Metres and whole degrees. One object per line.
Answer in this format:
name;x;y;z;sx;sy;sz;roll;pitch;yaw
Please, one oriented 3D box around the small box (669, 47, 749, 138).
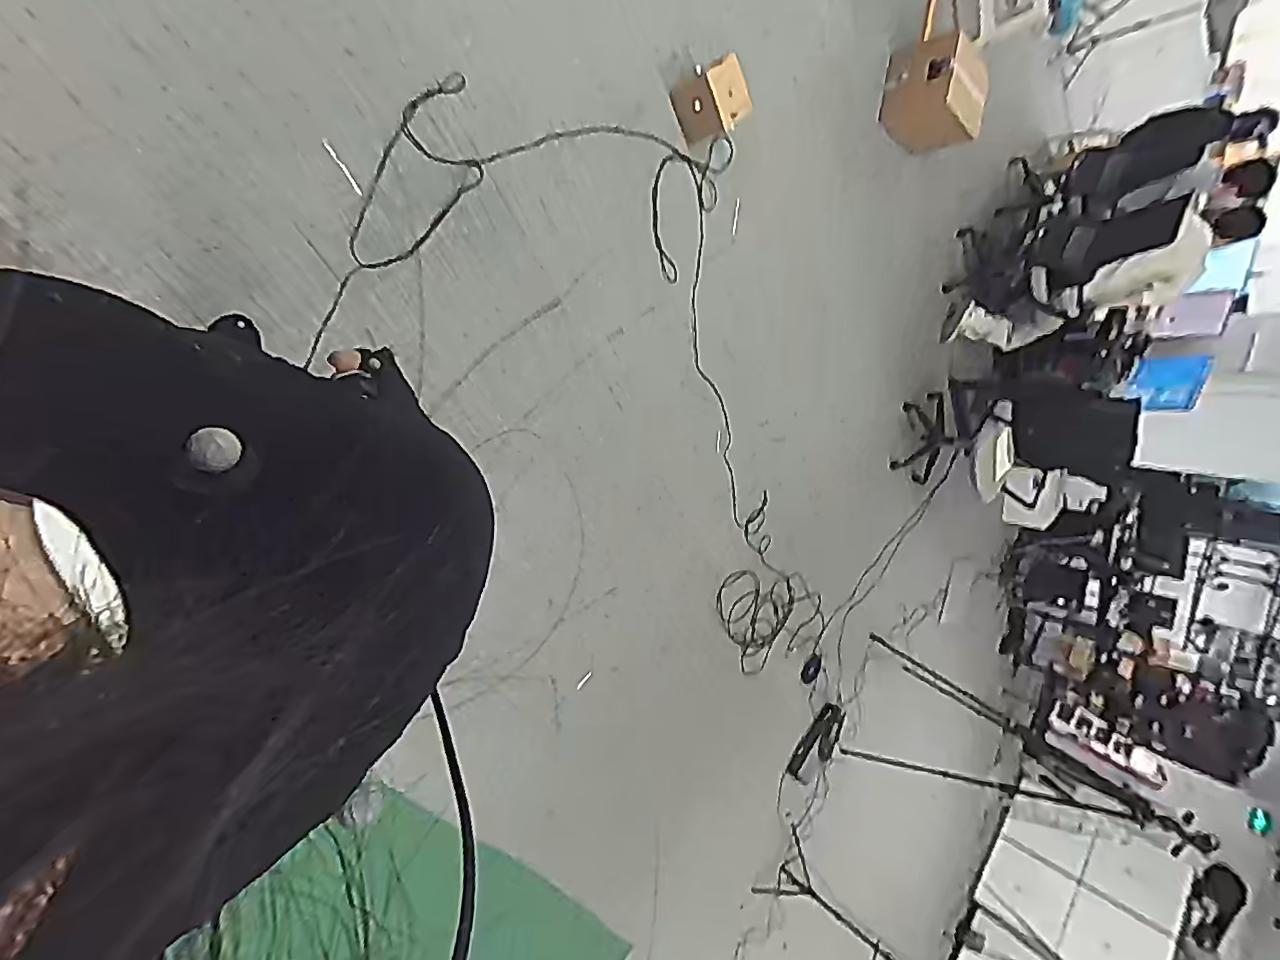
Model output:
small box;0.227;-1.291;1.810;0.168;0.176;0.179;-49;127;-21
